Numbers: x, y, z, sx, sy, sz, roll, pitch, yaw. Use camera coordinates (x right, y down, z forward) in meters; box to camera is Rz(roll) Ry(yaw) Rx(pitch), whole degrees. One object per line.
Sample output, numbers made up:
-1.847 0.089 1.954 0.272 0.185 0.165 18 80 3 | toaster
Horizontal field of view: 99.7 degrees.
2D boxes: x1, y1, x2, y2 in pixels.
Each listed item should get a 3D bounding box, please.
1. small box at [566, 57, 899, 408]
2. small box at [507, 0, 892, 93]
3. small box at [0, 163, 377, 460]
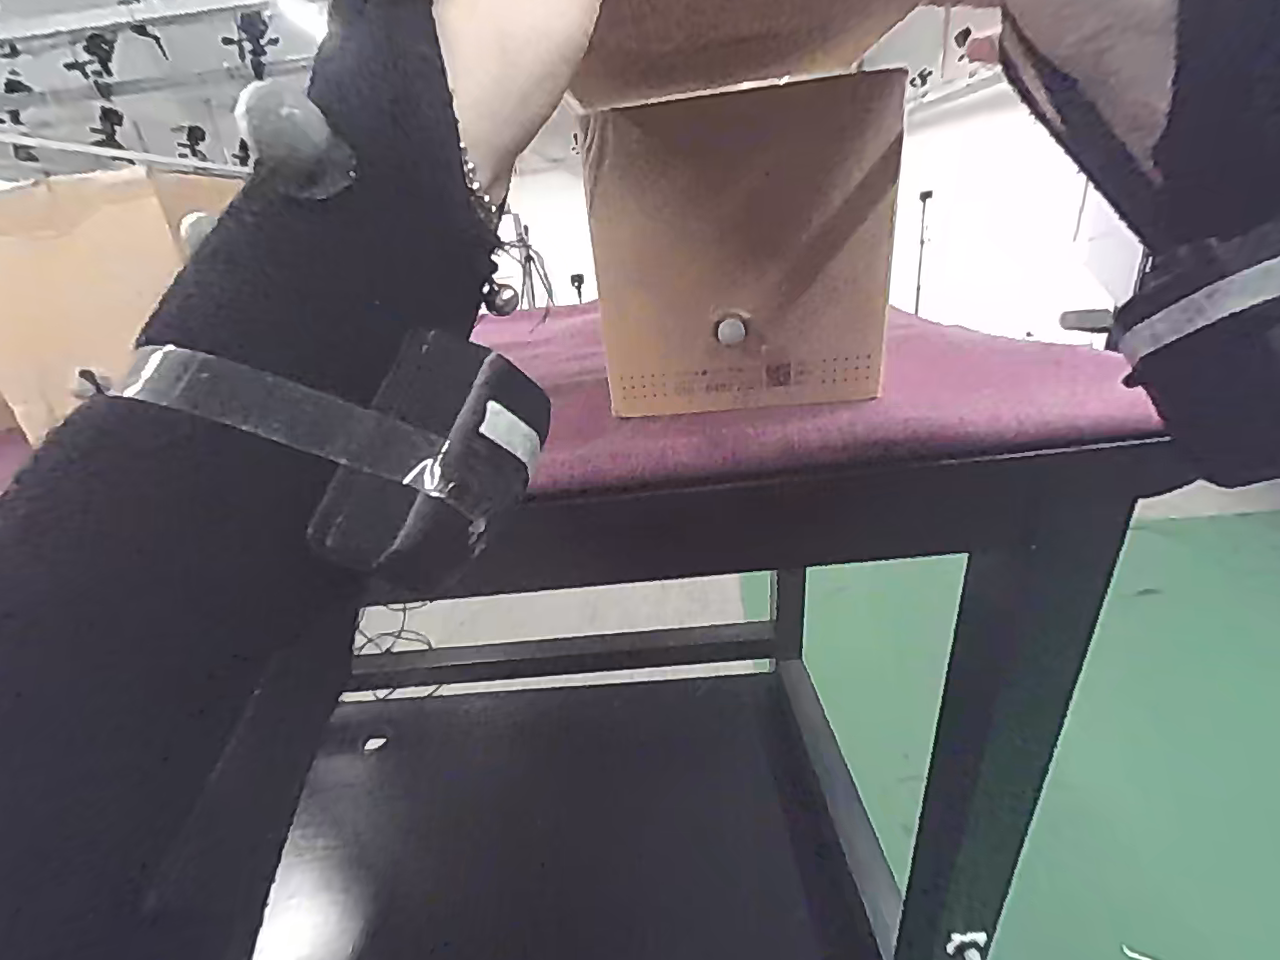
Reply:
0.058 -0.157 0.373 0.168 0.176 0.179 -4 27 8 | small box
0.025 -0.278 0.215 0.168 0.176 0.179 -6 25 7 | small box
-0.325 -0.124 0.403 0.168 0.176 0.179 -3 25 7 | small box
